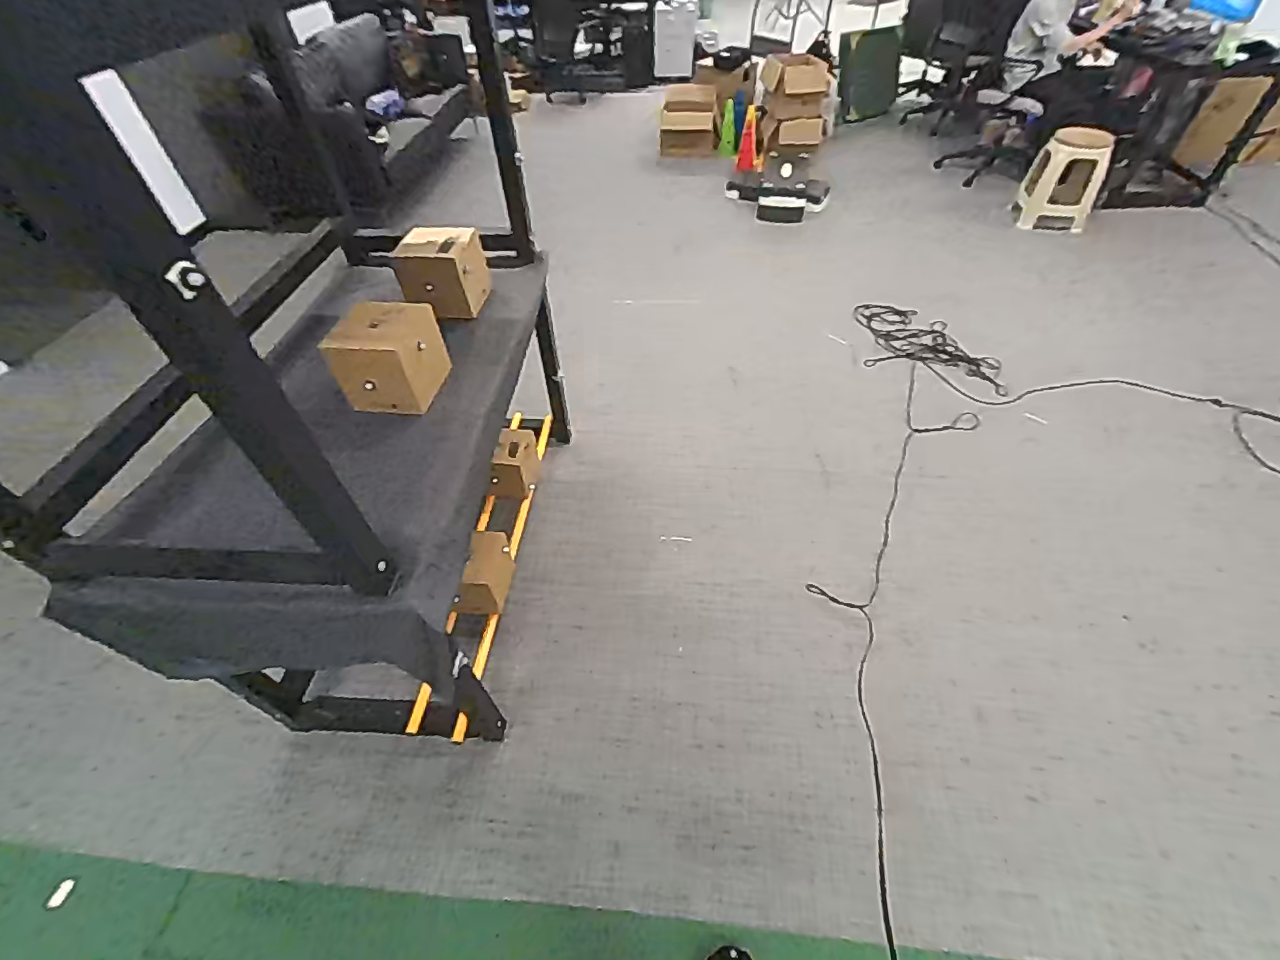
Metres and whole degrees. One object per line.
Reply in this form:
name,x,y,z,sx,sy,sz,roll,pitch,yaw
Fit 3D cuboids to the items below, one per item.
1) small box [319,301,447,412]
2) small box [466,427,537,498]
small box,-0.538,-0.264,1.165,0.168,0.176,0.179,4,48,6
small box,-0.456,-0.055,1.815,0.179,0.176,0.168,5,48,6
